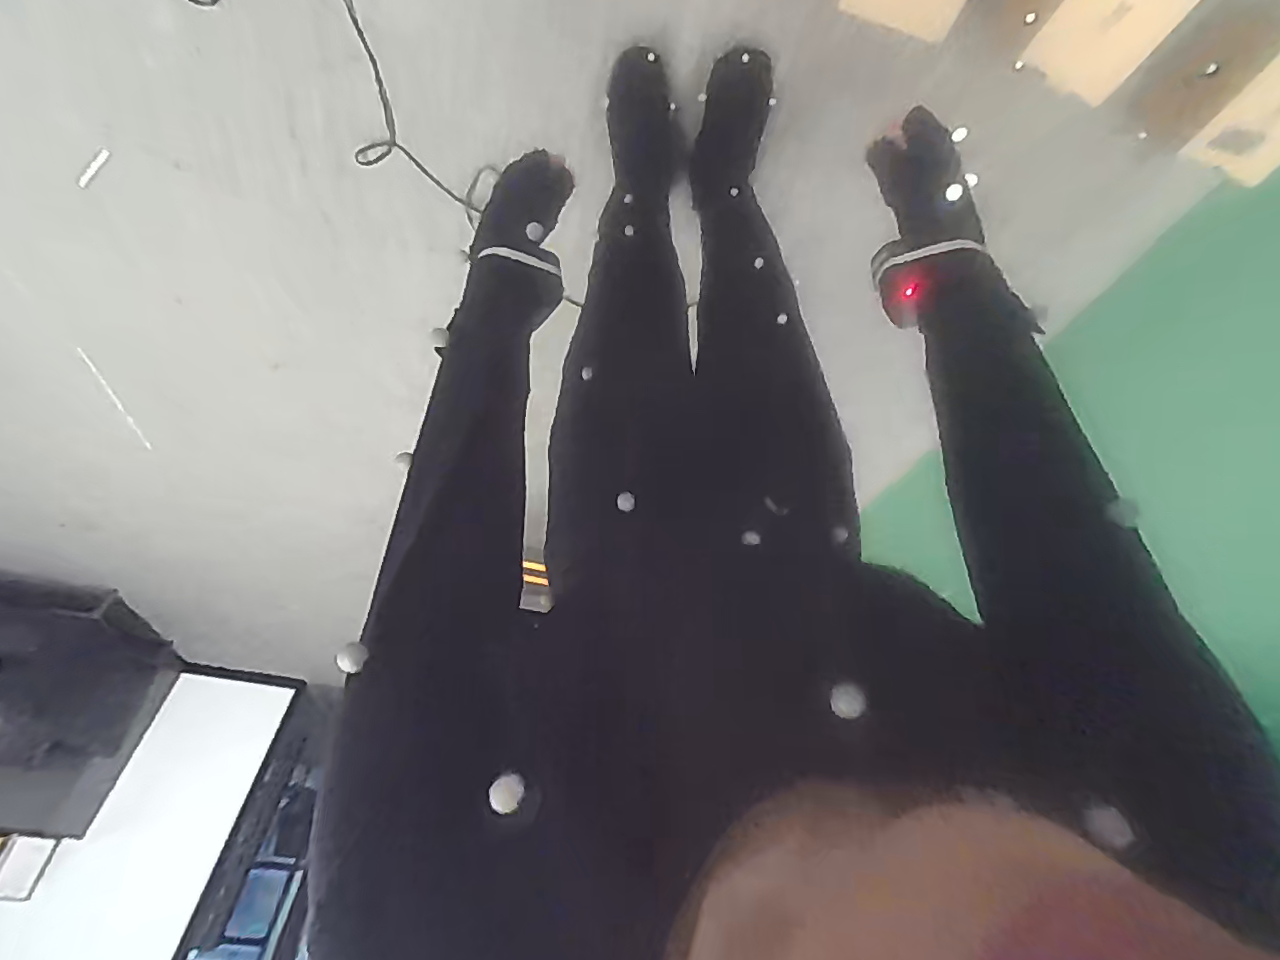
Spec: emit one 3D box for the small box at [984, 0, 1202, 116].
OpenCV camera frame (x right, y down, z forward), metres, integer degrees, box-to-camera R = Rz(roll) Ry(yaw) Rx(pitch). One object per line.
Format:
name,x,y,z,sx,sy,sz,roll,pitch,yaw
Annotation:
small box,0.657,-0.692,0.797,0.168,0.176,0.179,17,140,-14

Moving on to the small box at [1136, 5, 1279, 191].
small box,0.958,-0.609,0.866,0.168,0.176,0.179,14,139,-11
